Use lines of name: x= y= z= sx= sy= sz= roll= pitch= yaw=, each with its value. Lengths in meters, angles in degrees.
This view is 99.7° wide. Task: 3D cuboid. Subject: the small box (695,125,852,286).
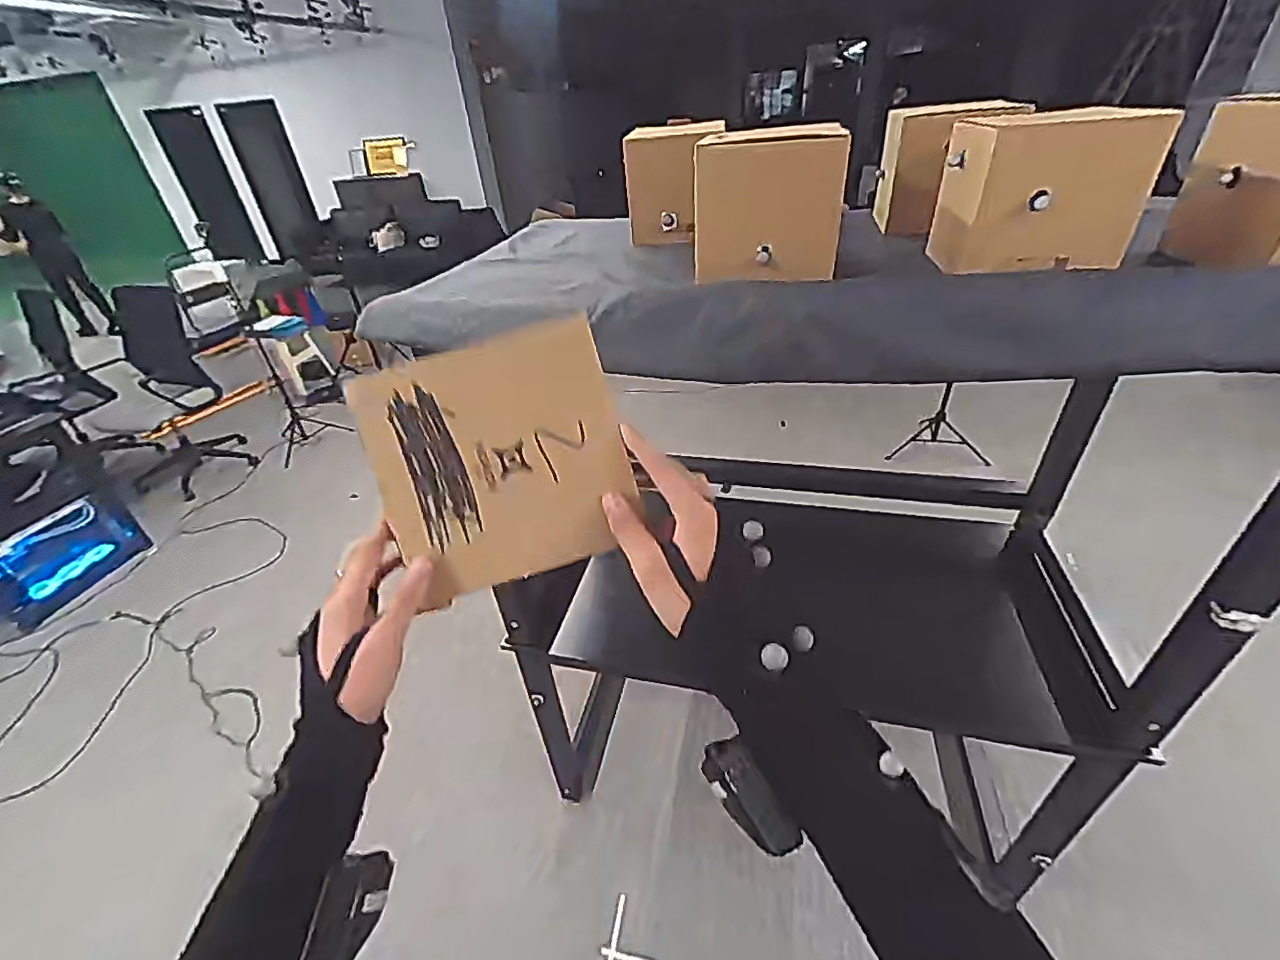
small box: x=0.171 y=-0.363 z=0.720 sx=0.179 sy=0.176 sz=0.168 roll=4 pitch=35 yaw=12

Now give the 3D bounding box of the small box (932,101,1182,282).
small box: x=0.473 y=-0.343 z=0.651 sx=0.168 sy=0.176 sz=0.179 roll=3 pitch=35 yaw=12

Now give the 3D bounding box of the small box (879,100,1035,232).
small box: x=0.498 y=-0.511 z=0.885 sx=0.179 sy=0.176 sz=0.168 roll=5 pitch=37 yaw=14

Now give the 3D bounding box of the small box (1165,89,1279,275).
small box: x=0.737 y=-0.321 z=0.578 sx=0.168 sy=0.176 sz=0.179 roll=1 pitch=34 yaw=10

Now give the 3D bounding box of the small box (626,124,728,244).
small box: x=0.074 y=-0.531 z=0.971 sx=0.168 sy=0.176 sz=0.179 roll=0 pitch=36 yaw=9
